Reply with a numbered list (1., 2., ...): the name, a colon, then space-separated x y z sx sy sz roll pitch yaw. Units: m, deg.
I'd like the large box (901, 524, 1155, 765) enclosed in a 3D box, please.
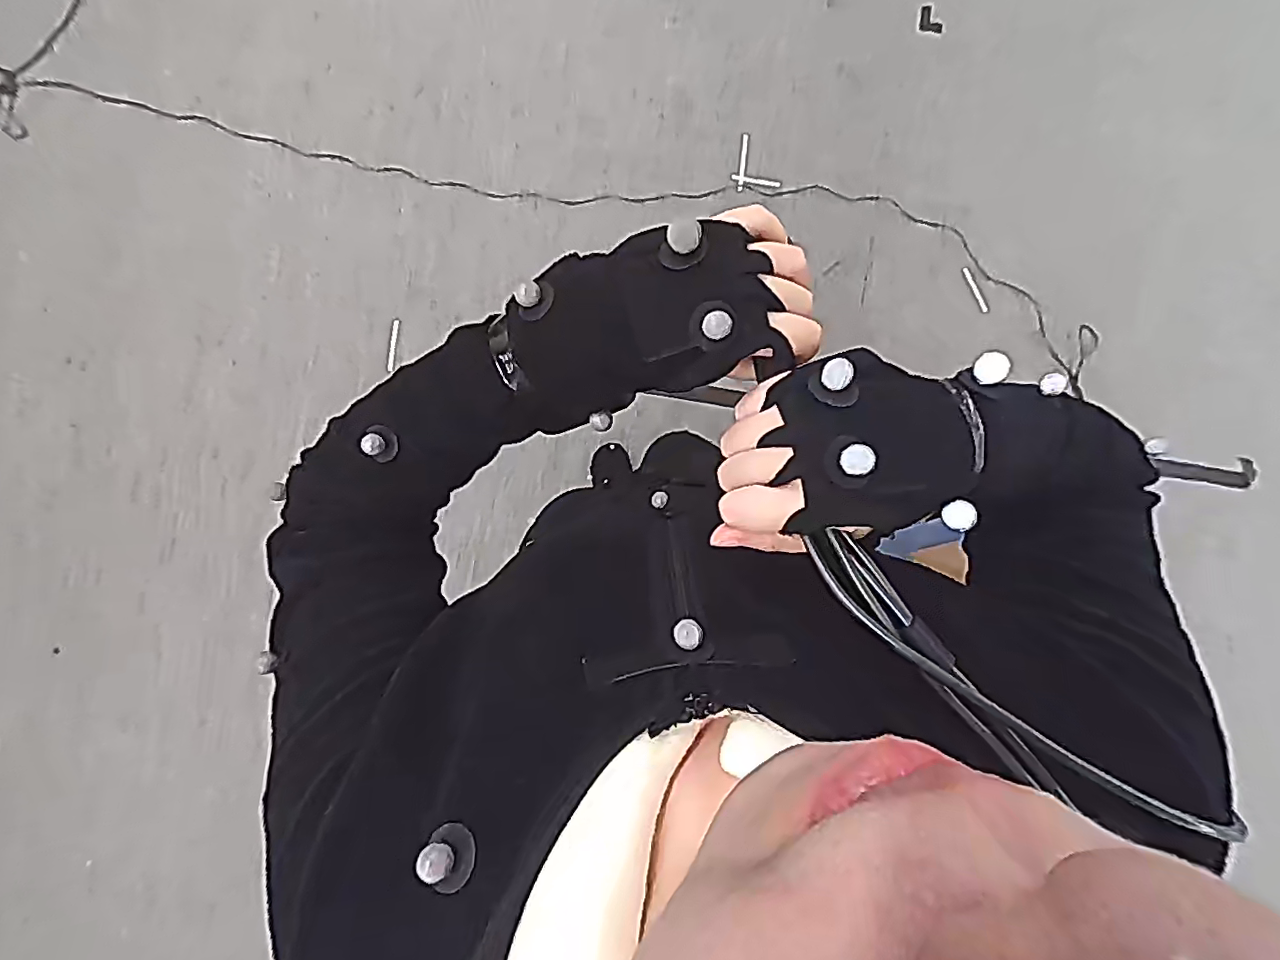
1. large box: 0.861 0.346 1.244 0.320 0.320 0.408 -13 94 -2
